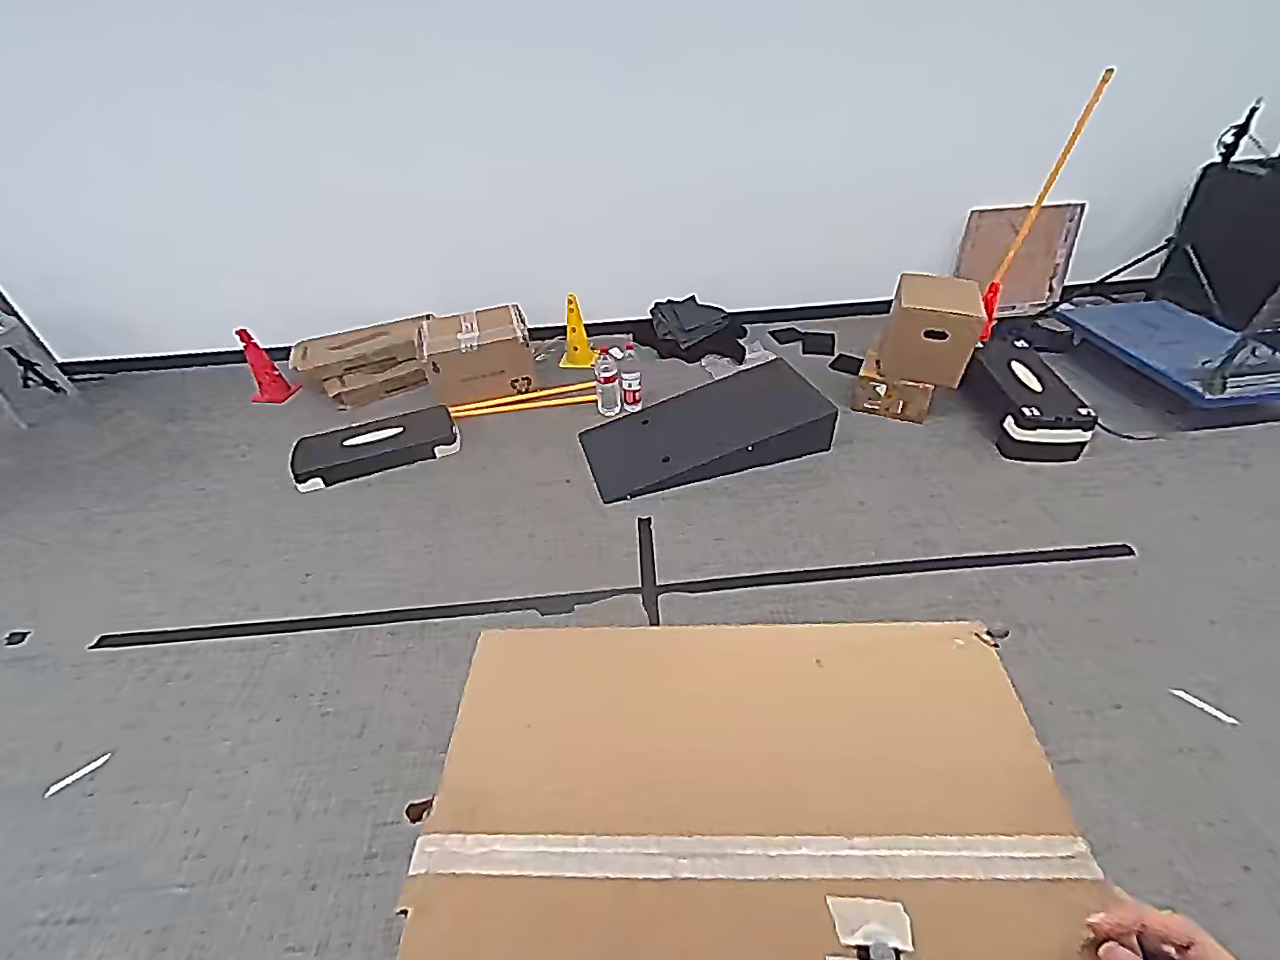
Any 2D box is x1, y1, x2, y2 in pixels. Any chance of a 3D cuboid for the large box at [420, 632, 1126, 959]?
[{"bbox_3d":[0.077,0.344,0.443,0.408,0.320,0.320,-2,46,3],"label":"large box"}]
